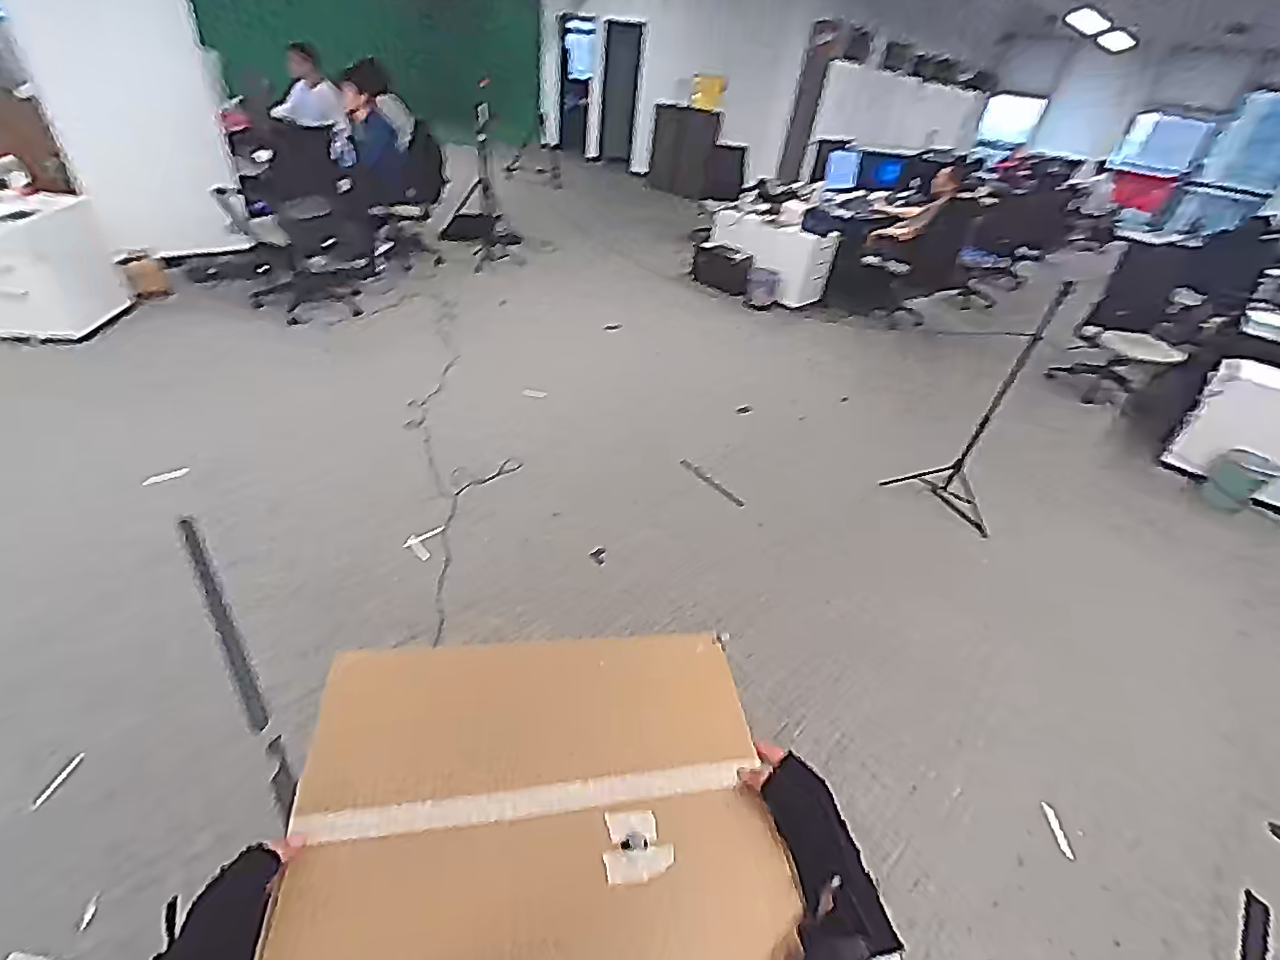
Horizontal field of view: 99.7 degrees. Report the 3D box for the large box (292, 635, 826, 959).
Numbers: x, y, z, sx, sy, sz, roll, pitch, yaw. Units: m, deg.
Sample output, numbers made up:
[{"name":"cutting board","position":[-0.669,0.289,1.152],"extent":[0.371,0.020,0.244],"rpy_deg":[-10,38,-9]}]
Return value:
[{"name":"large box","position":[-0.096,0.393,0.579],"extent":[0.408,0.320,0.320],"rpy_deg":[2,41,-15]}]
